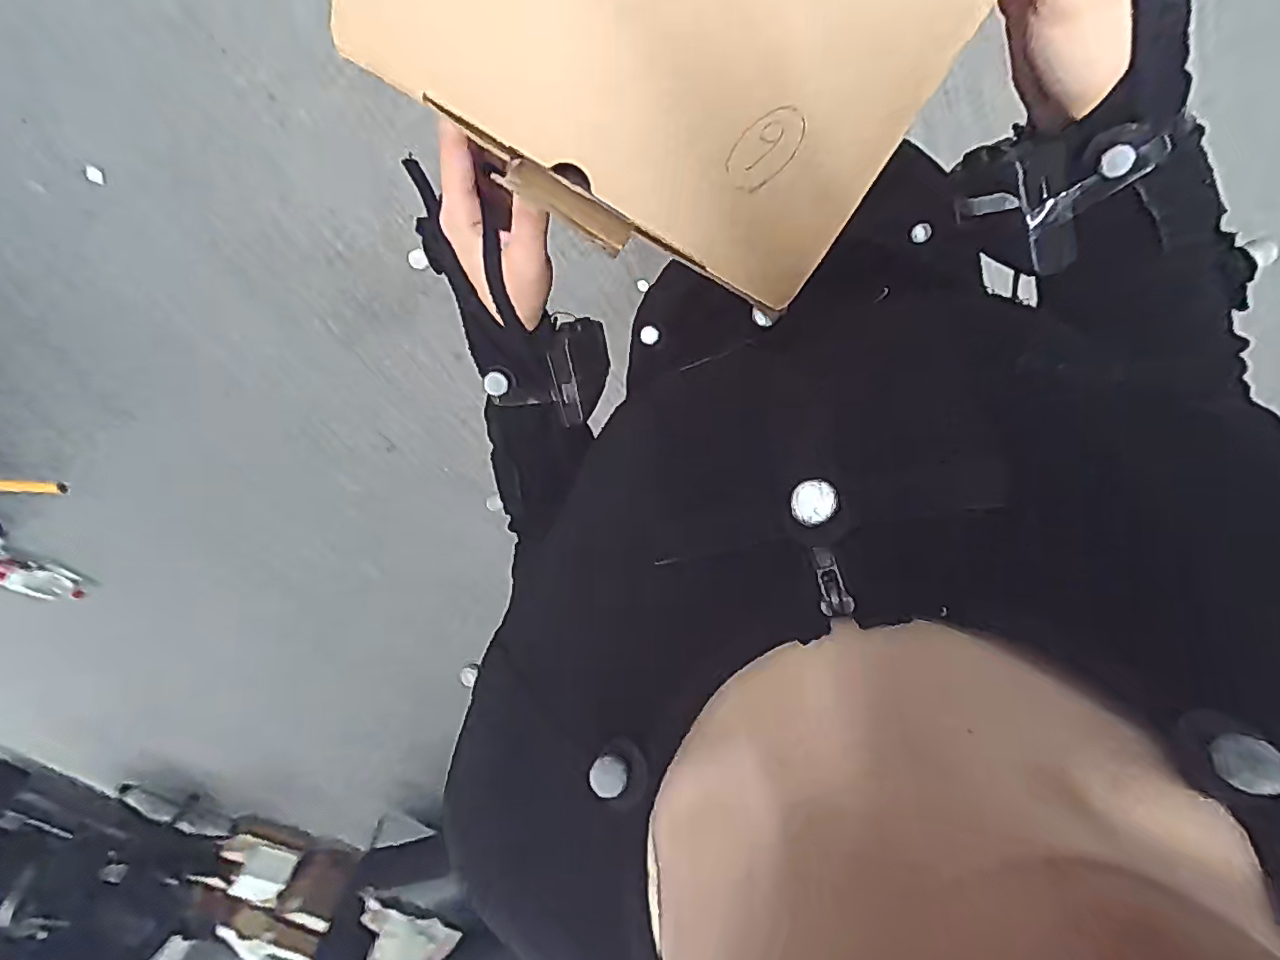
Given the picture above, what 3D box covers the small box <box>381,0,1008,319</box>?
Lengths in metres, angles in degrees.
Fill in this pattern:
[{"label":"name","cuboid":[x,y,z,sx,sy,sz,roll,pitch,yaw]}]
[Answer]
[{"label":"small box","cuboid":[0.034,-0.199,0.217,0.168,0.176,0.179,28,121,-9]}]
